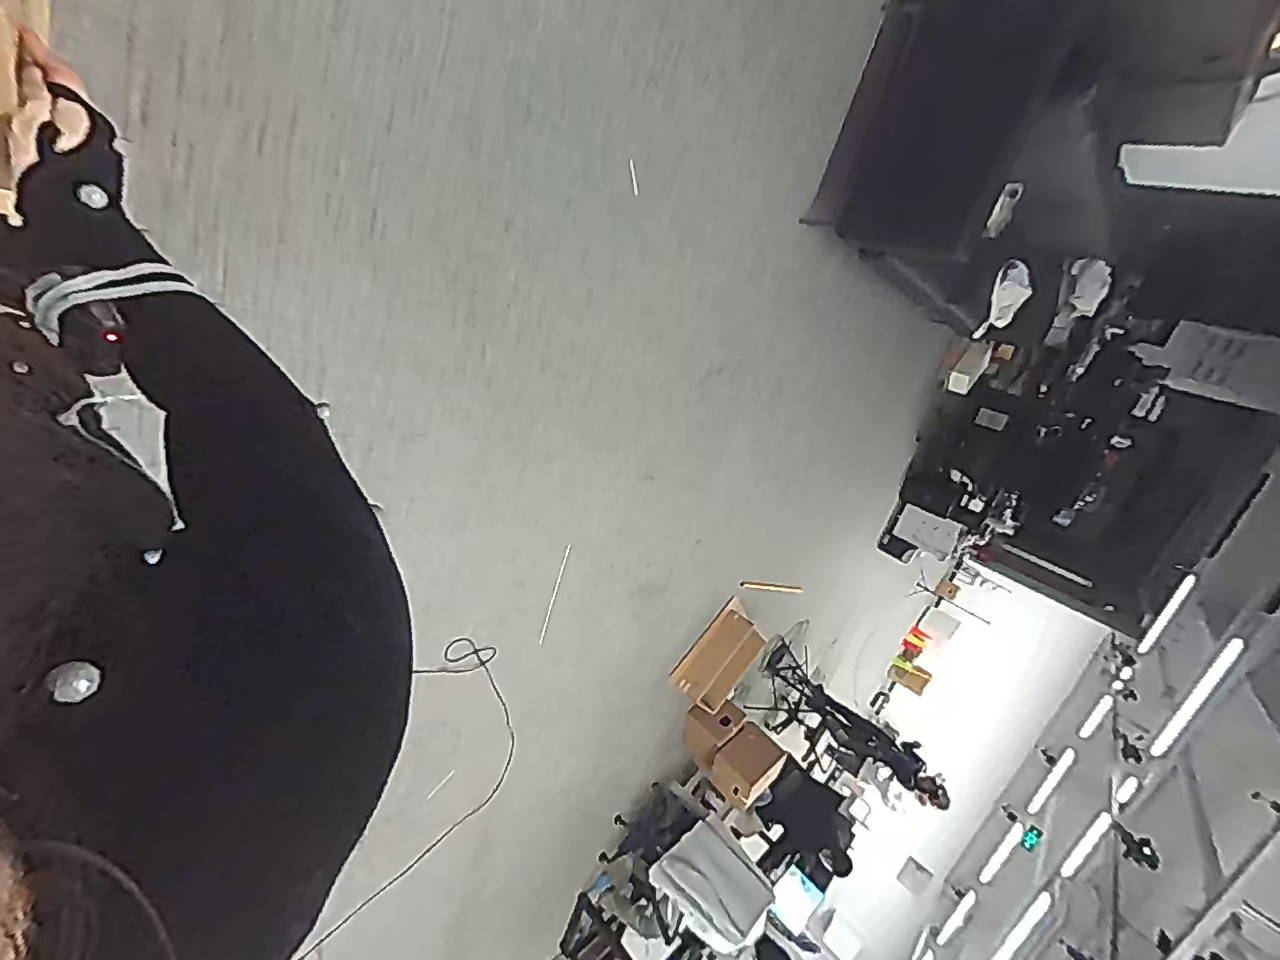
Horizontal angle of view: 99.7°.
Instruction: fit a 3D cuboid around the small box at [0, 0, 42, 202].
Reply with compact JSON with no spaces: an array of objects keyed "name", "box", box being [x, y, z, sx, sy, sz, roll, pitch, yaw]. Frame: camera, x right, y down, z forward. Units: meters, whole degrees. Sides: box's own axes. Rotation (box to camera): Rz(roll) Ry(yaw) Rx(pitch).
[{"name":"small box","box":[-0.518,-0.324,0.350,0.168,0.179,0.176,-1,158,-44]}]
